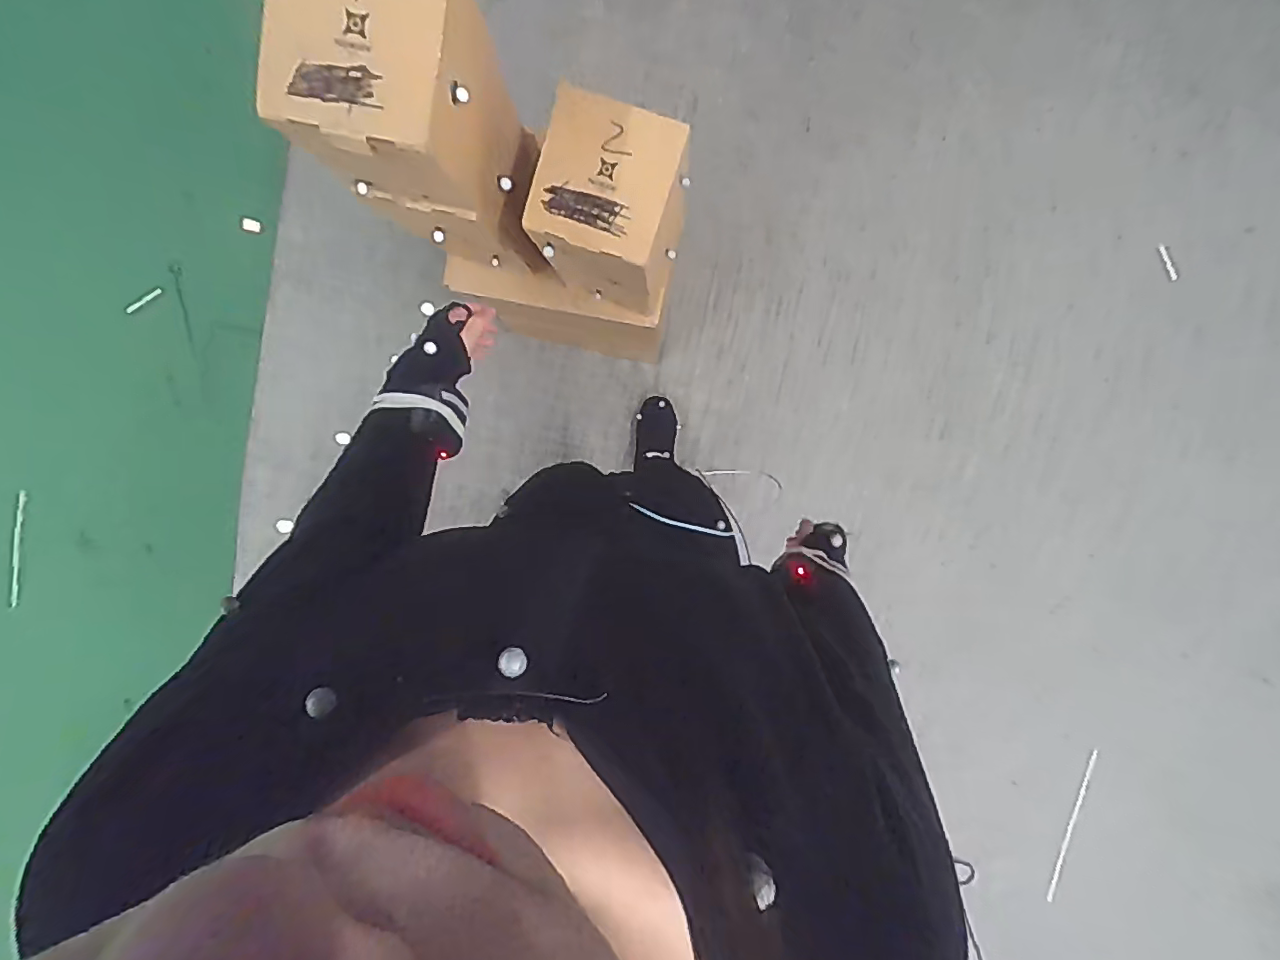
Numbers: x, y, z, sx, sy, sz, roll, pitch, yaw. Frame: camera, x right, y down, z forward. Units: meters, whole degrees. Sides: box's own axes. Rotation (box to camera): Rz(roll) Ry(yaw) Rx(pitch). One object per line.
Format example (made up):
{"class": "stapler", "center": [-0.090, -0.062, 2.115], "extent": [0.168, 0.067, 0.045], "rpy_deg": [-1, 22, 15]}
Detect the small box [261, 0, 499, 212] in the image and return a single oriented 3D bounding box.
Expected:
{"class": "small box", "center": [-0.261, -0.417, 0.581], "extent": [0.168, 0.176, 0.179], "rpy_deg": [11, 96, -1]}

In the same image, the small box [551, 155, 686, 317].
{"class": "small box", "center": [-0.032, -0.394, 0.903], "extent": [0.168, 0.176, 0.179], "rpy_deg": [19, 97, 1]}

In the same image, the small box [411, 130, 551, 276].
{"class": "small box", "center": [-0.256, -0.461, 0.906], "extent": [0.168, 0.176, 0.179], "rpy_deg": [13, 97, -1]}
